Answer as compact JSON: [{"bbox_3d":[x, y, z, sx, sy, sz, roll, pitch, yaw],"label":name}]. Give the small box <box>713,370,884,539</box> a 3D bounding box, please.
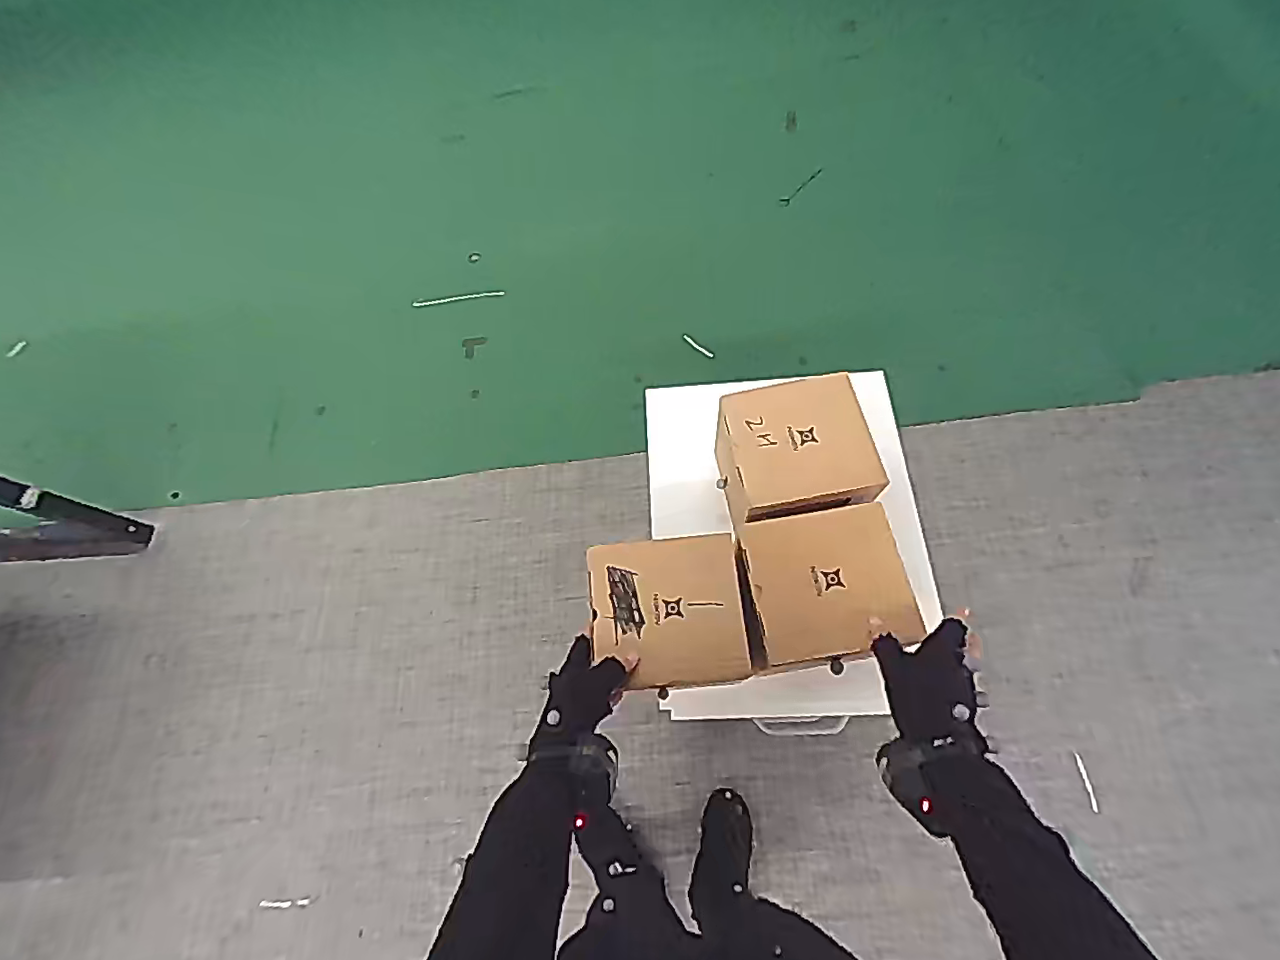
[{"bbox_3d":[0.206,-0.028,0.759,0.179,0.176,0.168,-11,67,1],"label":"small box"}]
